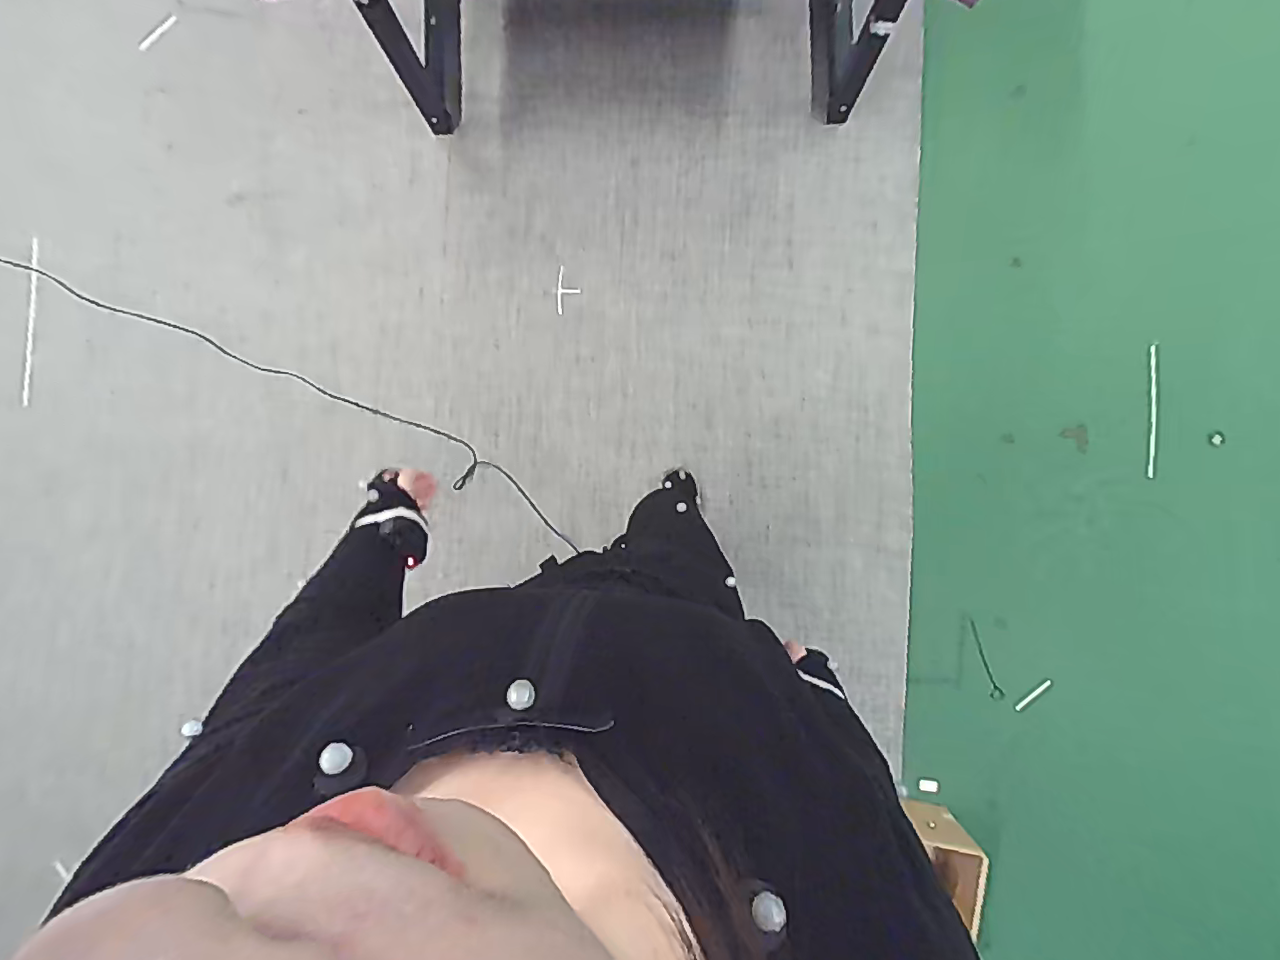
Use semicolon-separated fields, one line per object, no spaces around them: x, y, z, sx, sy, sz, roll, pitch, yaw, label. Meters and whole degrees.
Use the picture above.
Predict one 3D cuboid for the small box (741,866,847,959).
0.325;0.984;1.178;0.179;0.176;0.168;9;88;1;small box
